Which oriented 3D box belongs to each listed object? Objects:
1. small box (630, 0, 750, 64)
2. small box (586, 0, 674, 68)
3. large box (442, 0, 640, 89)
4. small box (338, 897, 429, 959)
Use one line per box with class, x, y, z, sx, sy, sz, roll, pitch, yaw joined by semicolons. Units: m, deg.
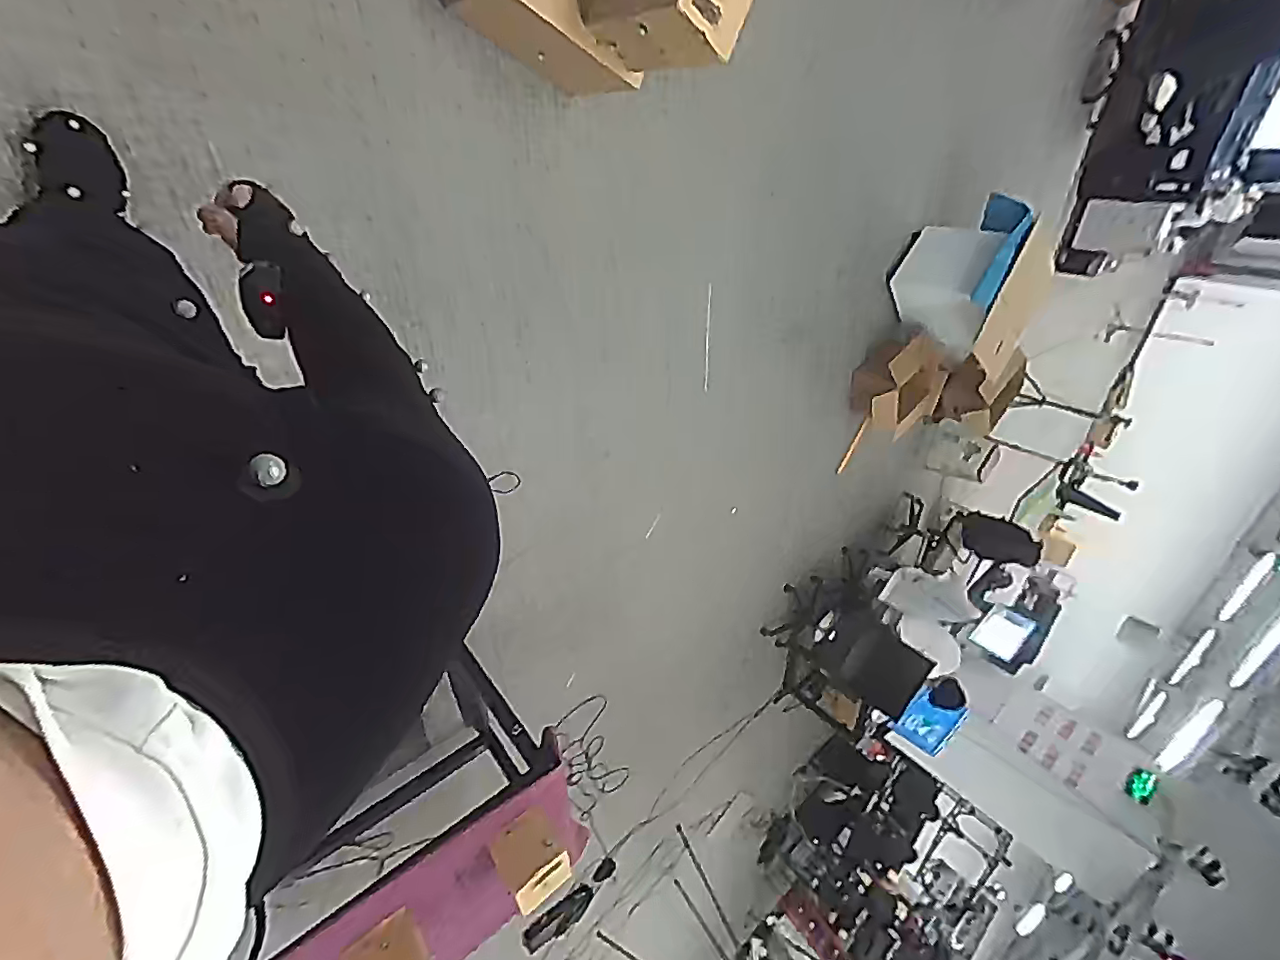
small box;0.105;-0.995;1.106;0.168;0.176;0.179;12;106;-47
small box;0.006;-1.071;1.213;0.168;0.176;0.179;11;108;-47
large box;-0.199;-1.212;1.298;0.408;0.320;0.320;2;112;-44
small box;-0.648;1.229;1.386;0.168;0.176;0.179;-23;130;-33
